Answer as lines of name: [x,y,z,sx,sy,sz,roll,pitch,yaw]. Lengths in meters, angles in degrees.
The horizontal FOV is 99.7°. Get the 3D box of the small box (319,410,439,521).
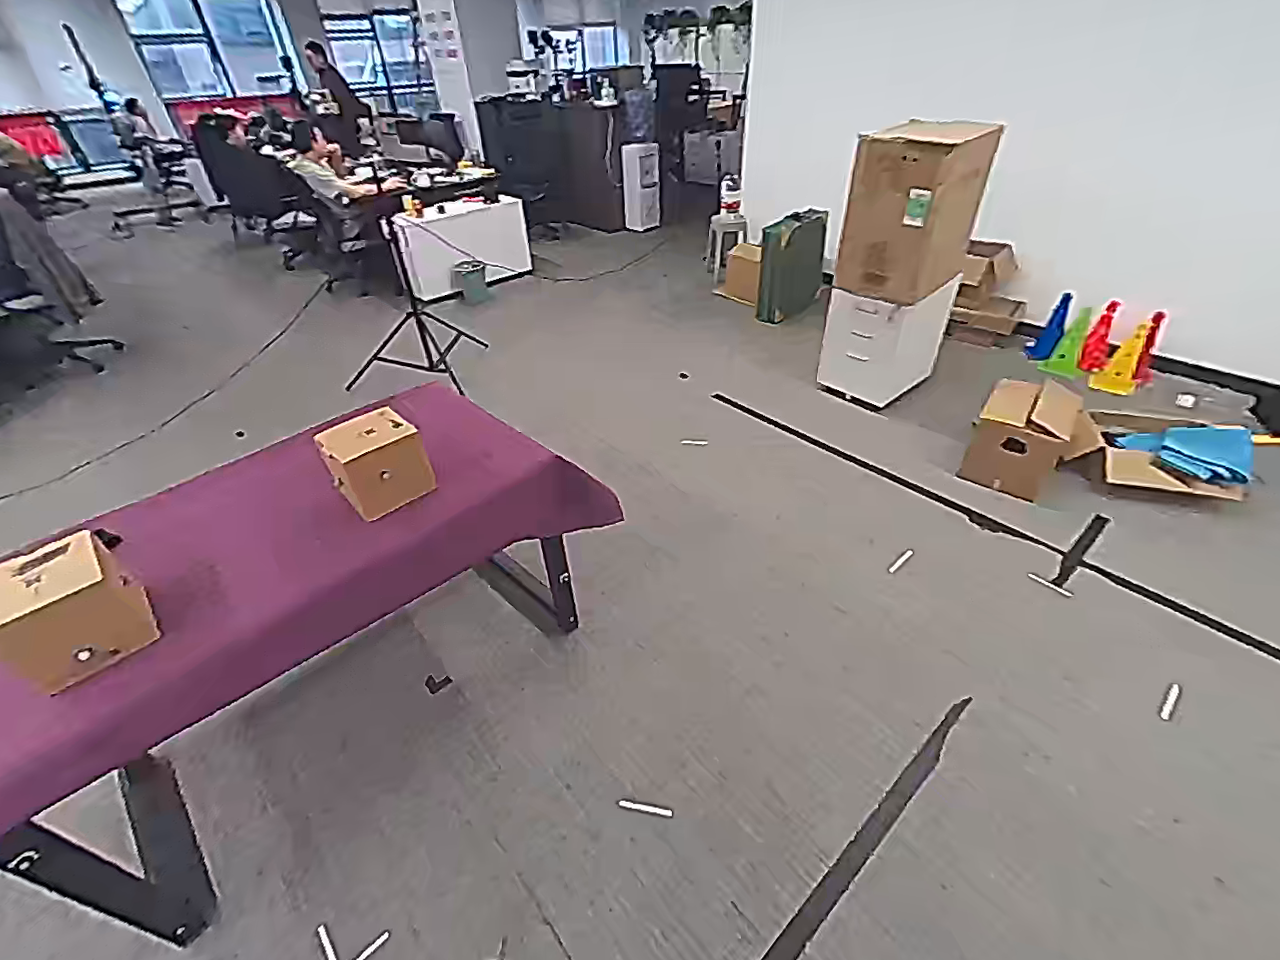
small box: [-0.603,-0.034,1.265,0.179,0.176,0.168,-34,47,-31]

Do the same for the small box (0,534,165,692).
small box: [-0.993,0.233,0.953,0.179,0.176,0.168,31,49,34]
